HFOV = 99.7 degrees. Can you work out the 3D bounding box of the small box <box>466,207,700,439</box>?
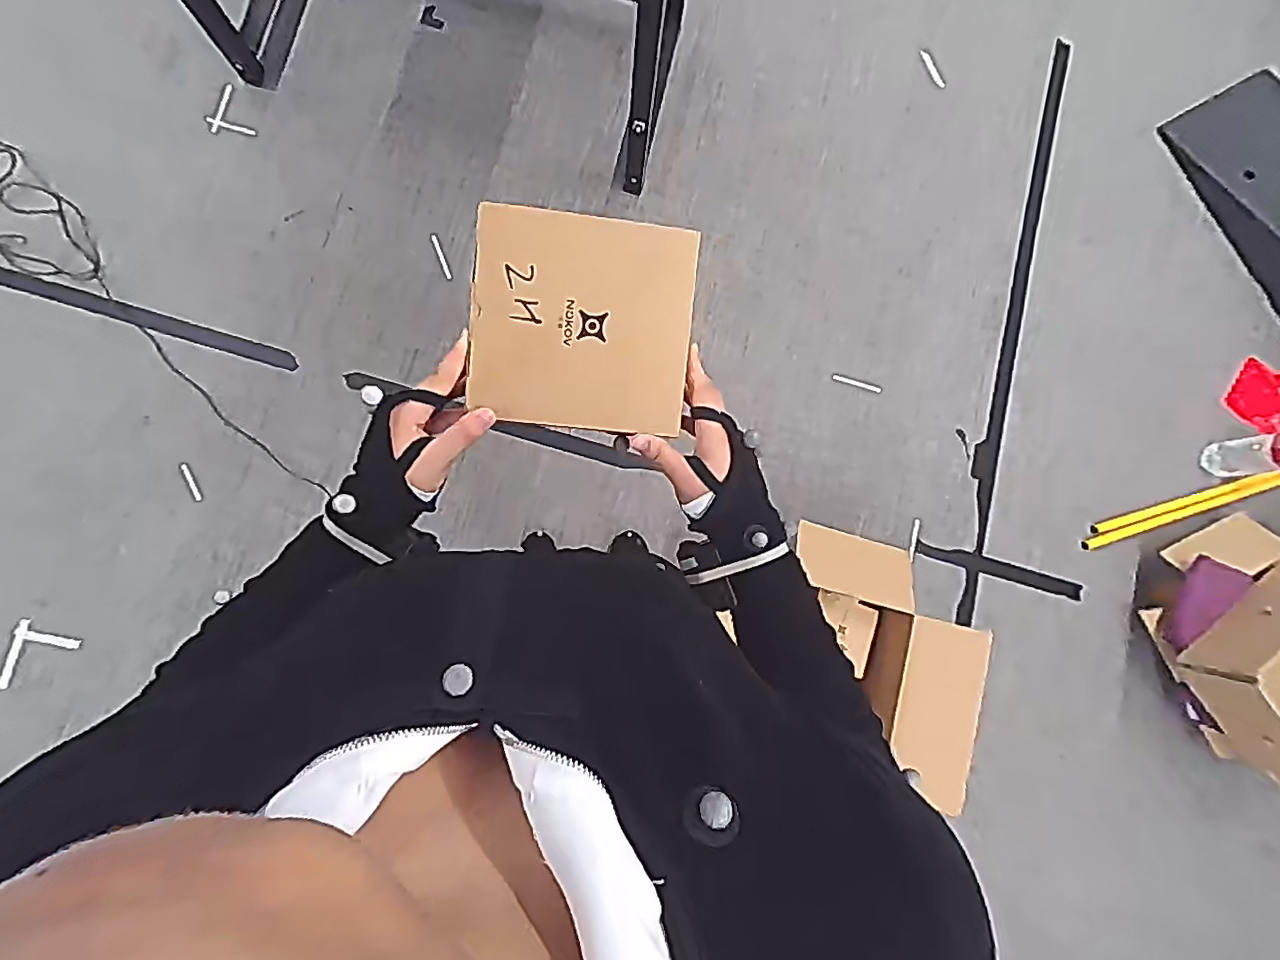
[{"bbox_3d":[-0.052,-0.130,0.508,0.179,0.176,0.168,5,95,-5],"label":"small box"}]
